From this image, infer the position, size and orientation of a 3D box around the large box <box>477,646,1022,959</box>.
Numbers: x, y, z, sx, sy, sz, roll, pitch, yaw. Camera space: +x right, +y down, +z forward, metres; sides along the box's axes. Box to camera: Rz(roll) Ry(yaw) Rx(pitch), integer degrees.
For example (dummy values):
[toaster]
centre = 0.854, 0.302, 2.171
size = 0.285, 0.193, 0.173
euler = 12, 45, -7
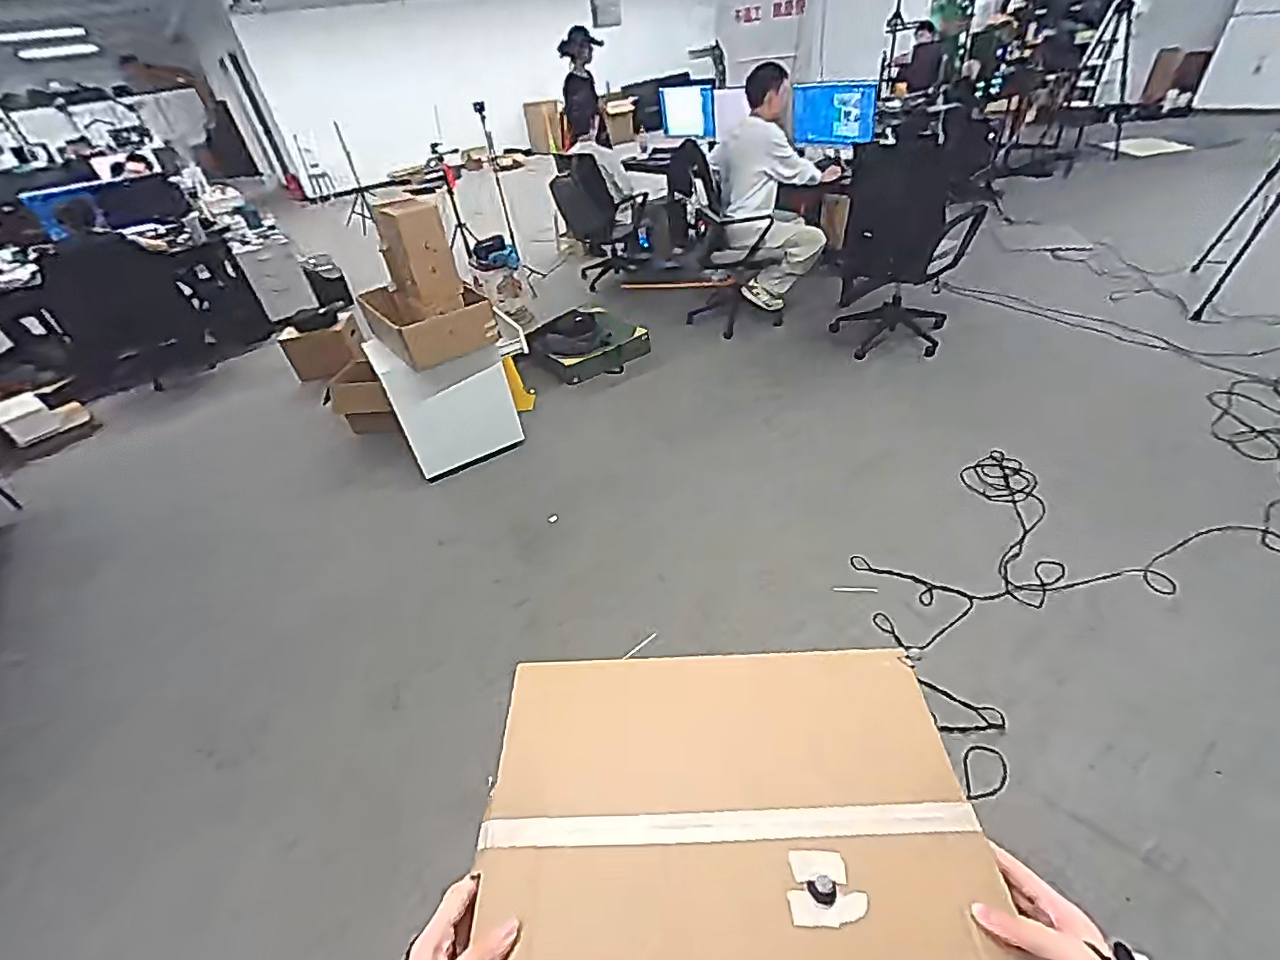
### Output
[large box]
centre = 0.080, 0.398, 0.562
size = 0.408, 0.320, 0.320
euler = -2, 42, 1
